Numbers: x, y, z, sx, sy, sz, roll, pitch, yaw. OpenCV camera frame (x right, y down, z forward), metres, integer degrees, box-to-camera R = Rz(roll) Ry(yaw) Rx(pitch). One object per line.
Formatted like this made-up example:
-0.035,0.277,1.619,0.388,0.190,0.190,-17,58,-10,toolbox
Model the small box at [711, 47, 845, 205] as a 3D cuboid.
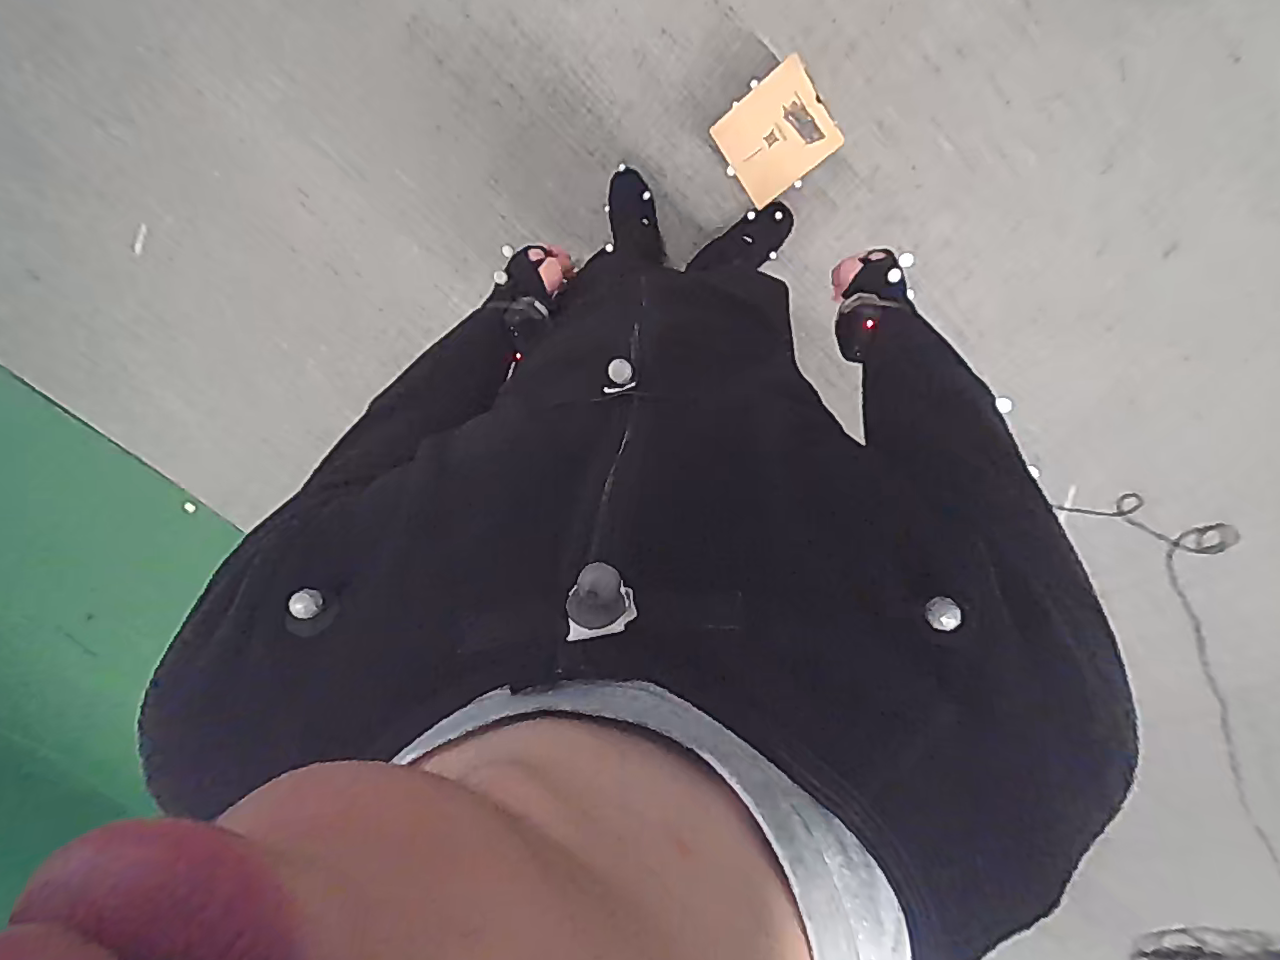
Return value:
0.252,-0.647,1.003,0.179,0.176,0.168,-30,110,27,small box
